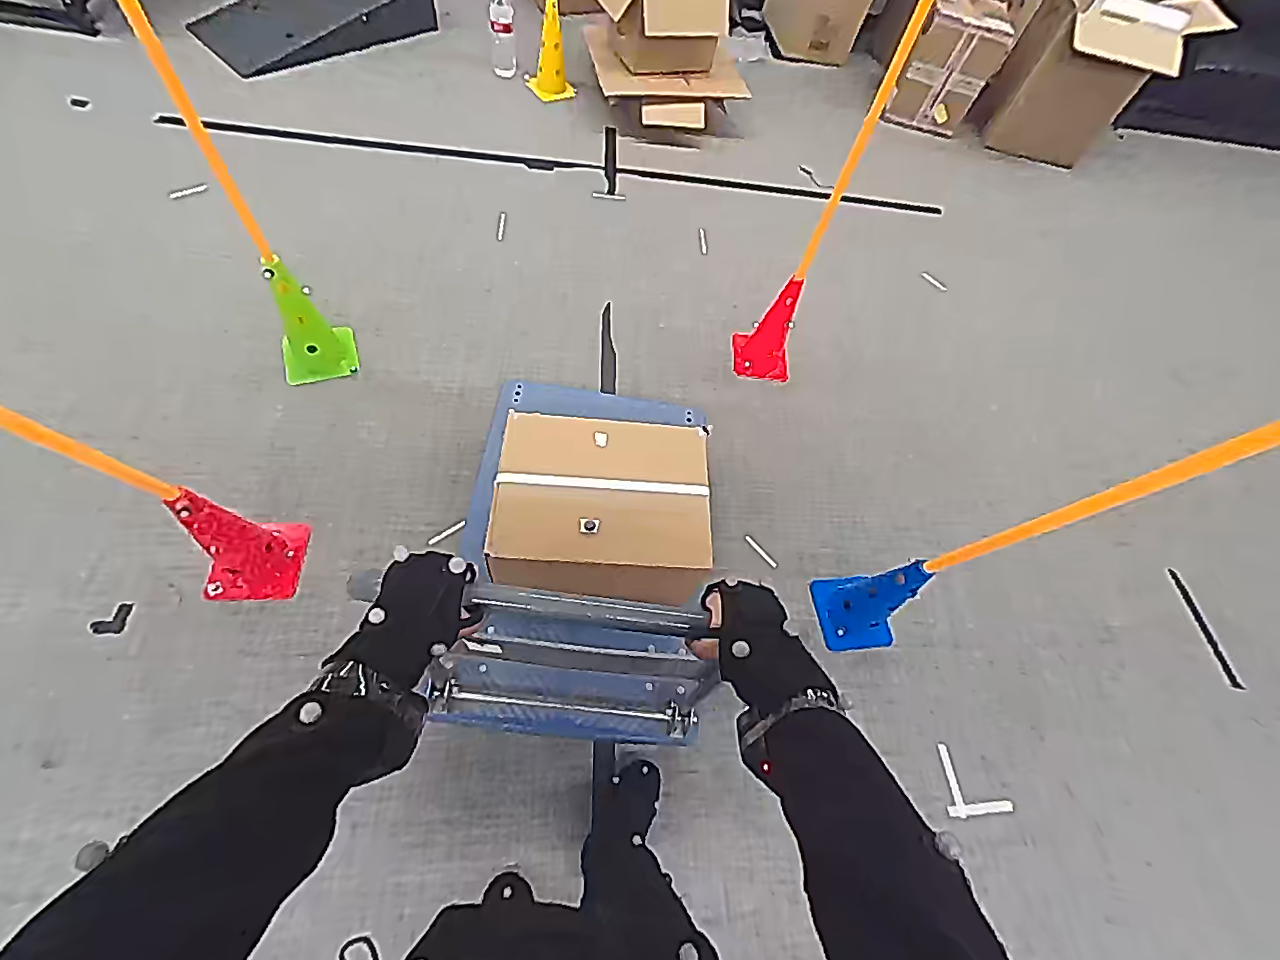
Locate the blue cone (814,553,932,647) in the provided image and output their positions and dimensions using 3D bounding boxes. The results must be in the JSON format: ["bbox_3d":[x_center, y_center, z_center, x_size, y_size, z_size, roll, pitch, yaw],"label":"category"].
[{"bbox_3d":[0.614,0.282,1.364,0.193,0.380,0.192,-1,60,-11],"label":"blue cone"}]

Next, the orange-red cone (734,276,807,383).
[{"bbox_3d":[0.459,-0.516,1.774,0.199,0.360,0.198,9,60,-6],"label":"orange-red cone"}]
